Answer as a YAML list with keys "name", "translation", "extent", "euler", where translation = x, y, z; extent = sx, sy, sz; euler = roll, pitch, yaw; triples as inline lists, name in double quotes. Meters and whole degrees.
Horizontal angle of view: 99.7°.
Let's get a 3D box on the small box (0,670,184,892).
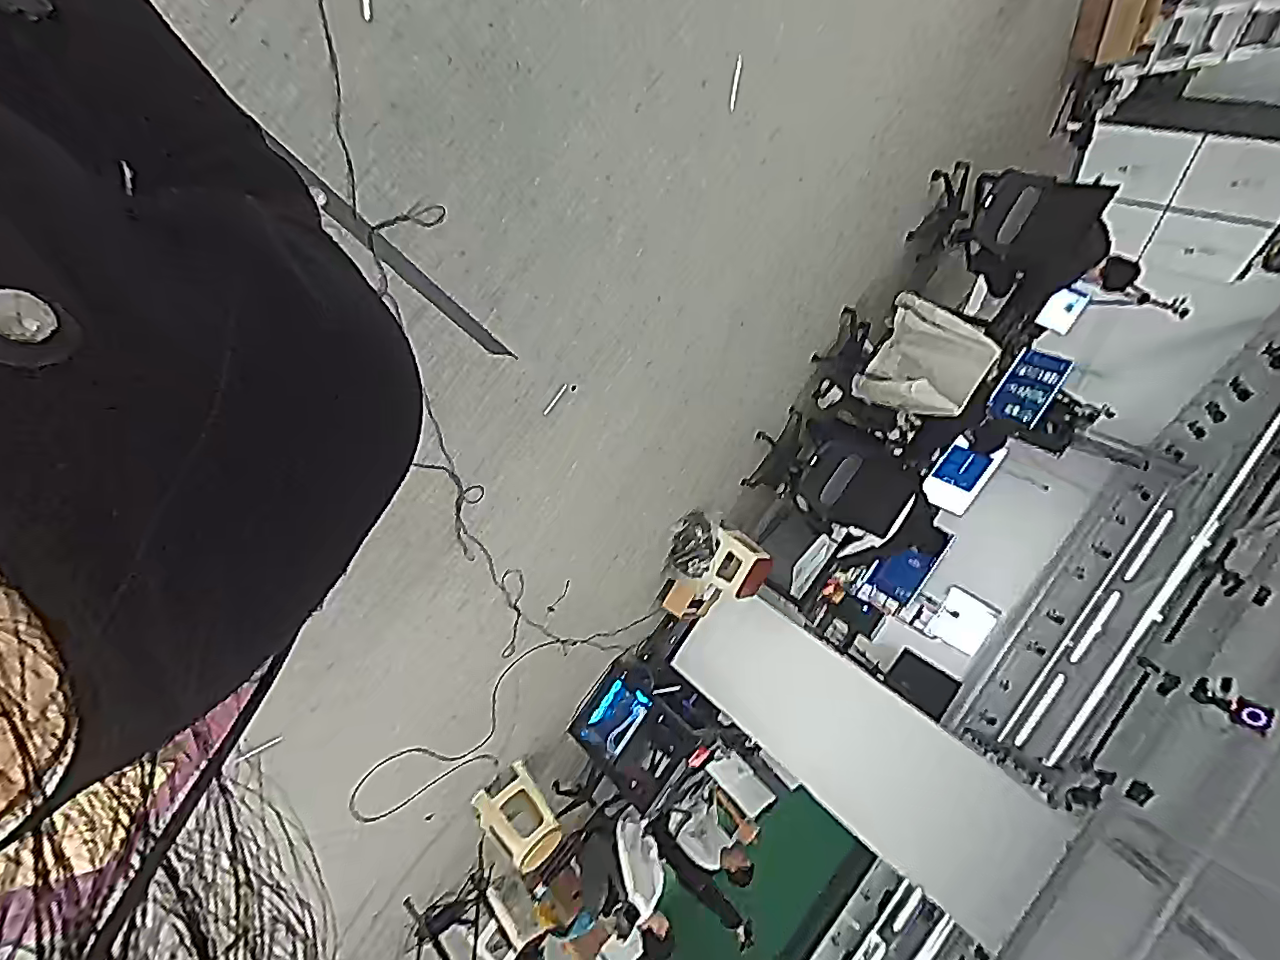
- name: "small box"
  translation: [-0.702, 0.344, 0.640]
  extent: [0.168, 0.176, 0.179]
  euler: [-55, 148, 1]
